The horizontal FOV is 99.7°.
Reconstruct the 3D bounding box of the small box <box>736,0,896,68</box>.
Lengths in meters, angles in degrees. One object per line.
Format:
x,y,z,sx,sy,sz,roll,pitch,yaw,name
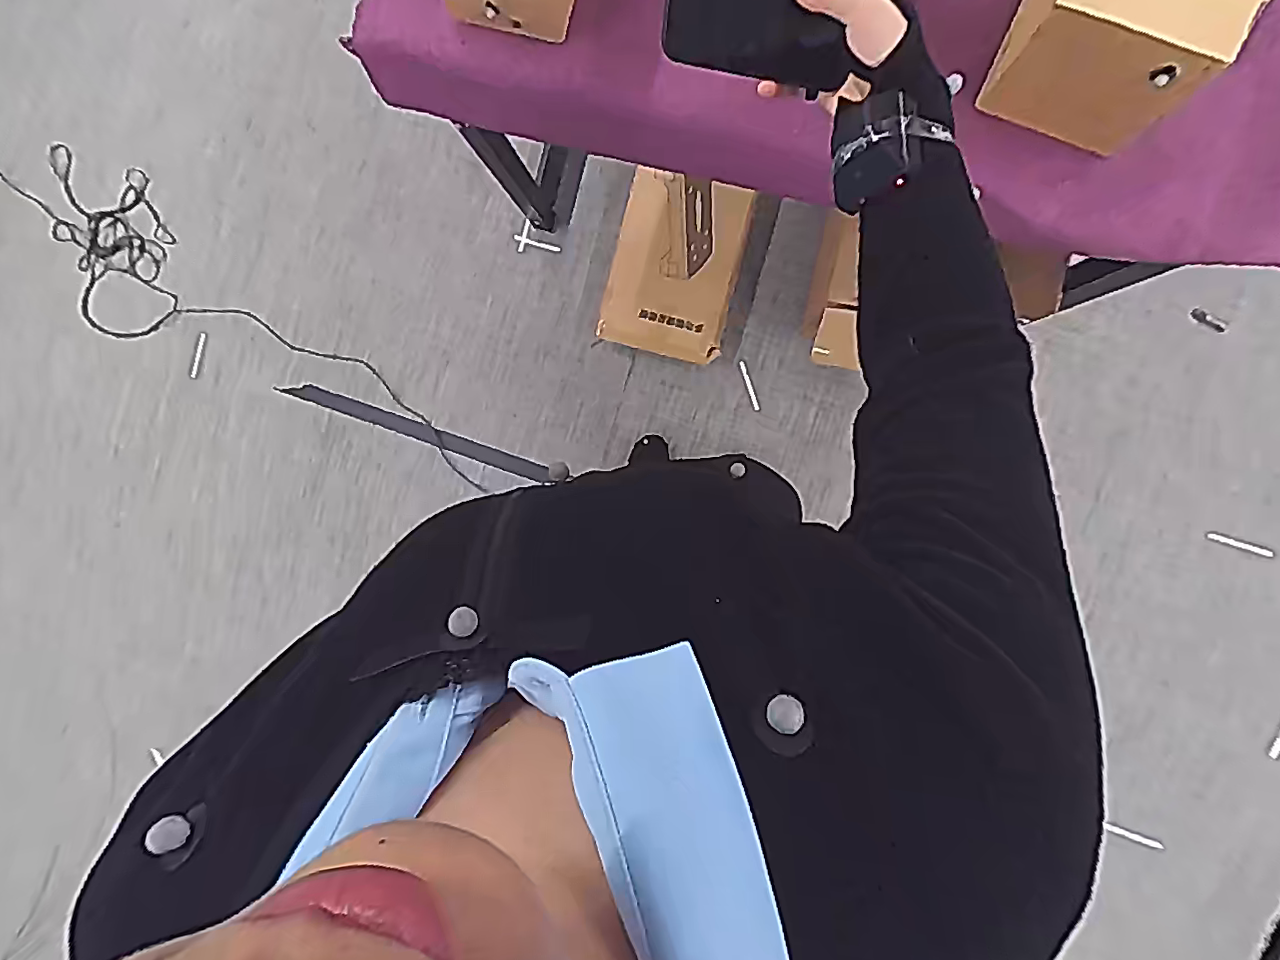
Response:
0.218,-0.613,0.608,0.179,0.176,0.168,16,93,5,small box

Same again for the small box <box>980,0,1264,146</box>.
0.516,-0.503,0.584,0.179,0.176,0.168,23,96,4,small box
